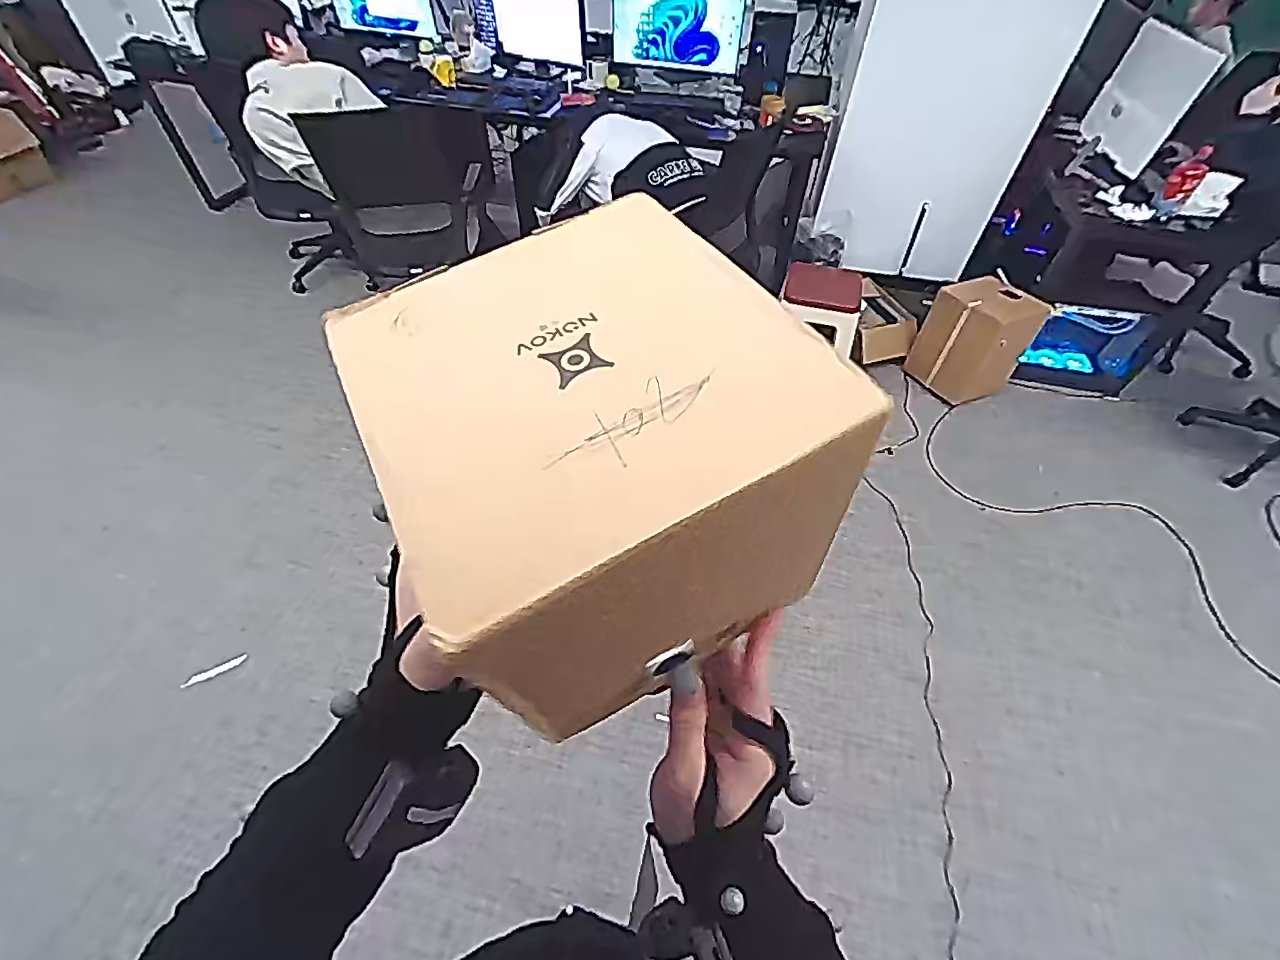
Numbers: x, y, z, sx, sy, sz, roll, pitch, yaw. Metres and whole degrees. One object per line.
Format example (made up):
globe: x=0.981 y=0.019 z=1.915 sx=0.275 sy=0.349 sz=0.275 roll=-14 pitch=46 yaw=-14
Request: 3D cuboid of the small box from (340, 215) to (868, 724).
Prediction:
small box: x=-0.019 y=0.001 z=0.291 sx=0.168 sy=0.176 sz=0.179 roll=-31 pitch=59 yaw=-12
